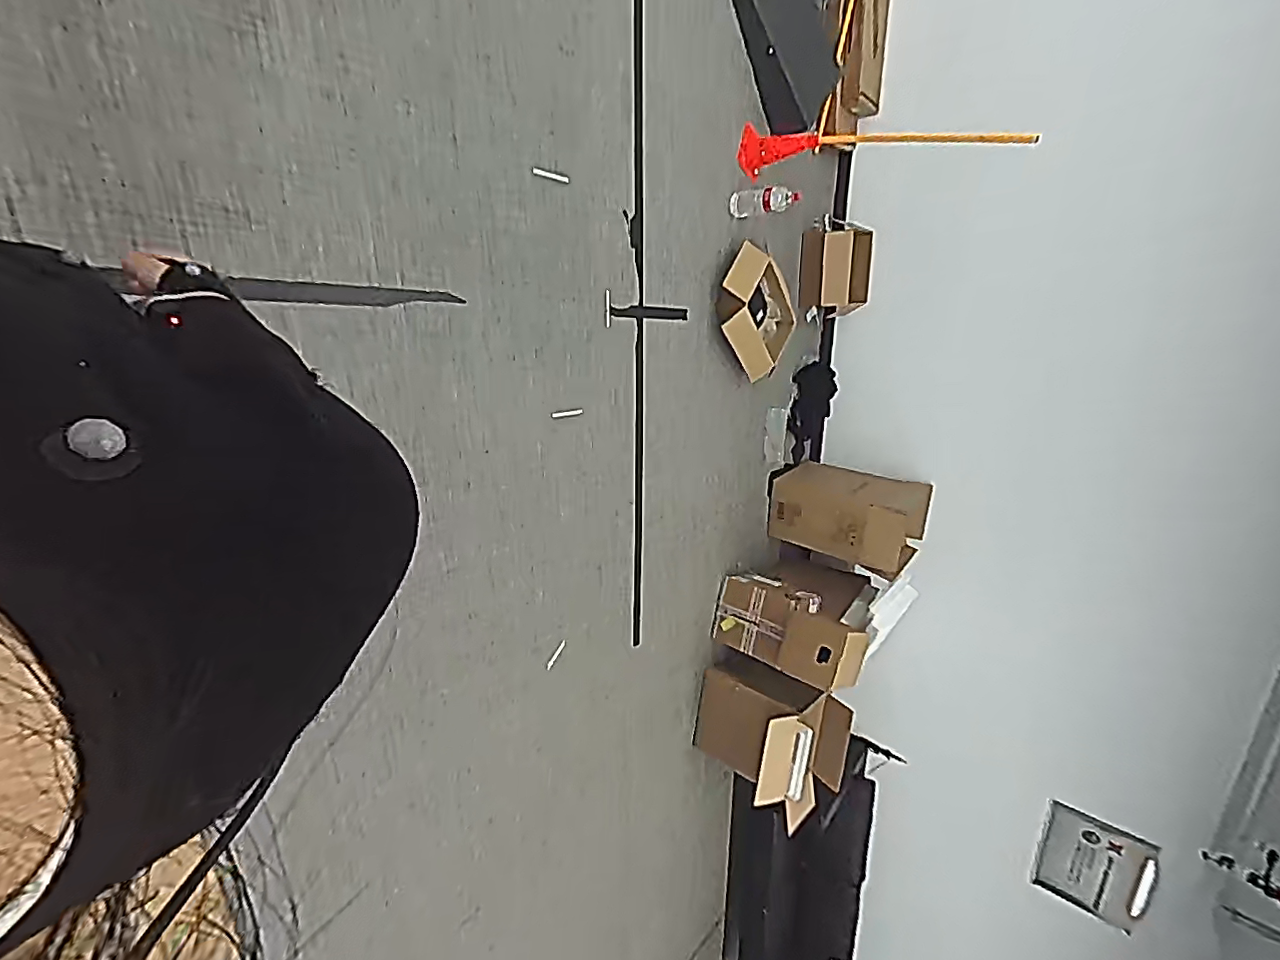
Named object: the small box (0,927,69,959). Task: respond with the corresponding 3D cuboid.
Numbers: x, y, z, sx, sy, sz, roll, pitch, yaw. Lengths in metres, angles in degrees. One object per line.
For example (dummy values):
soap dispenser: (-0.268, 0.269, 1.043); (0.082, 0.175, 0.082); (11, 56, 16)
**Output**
small box: (-1.266, 1.059, 1.078); (0.168, 0.176, 0.179); (-31, 123, -44)
